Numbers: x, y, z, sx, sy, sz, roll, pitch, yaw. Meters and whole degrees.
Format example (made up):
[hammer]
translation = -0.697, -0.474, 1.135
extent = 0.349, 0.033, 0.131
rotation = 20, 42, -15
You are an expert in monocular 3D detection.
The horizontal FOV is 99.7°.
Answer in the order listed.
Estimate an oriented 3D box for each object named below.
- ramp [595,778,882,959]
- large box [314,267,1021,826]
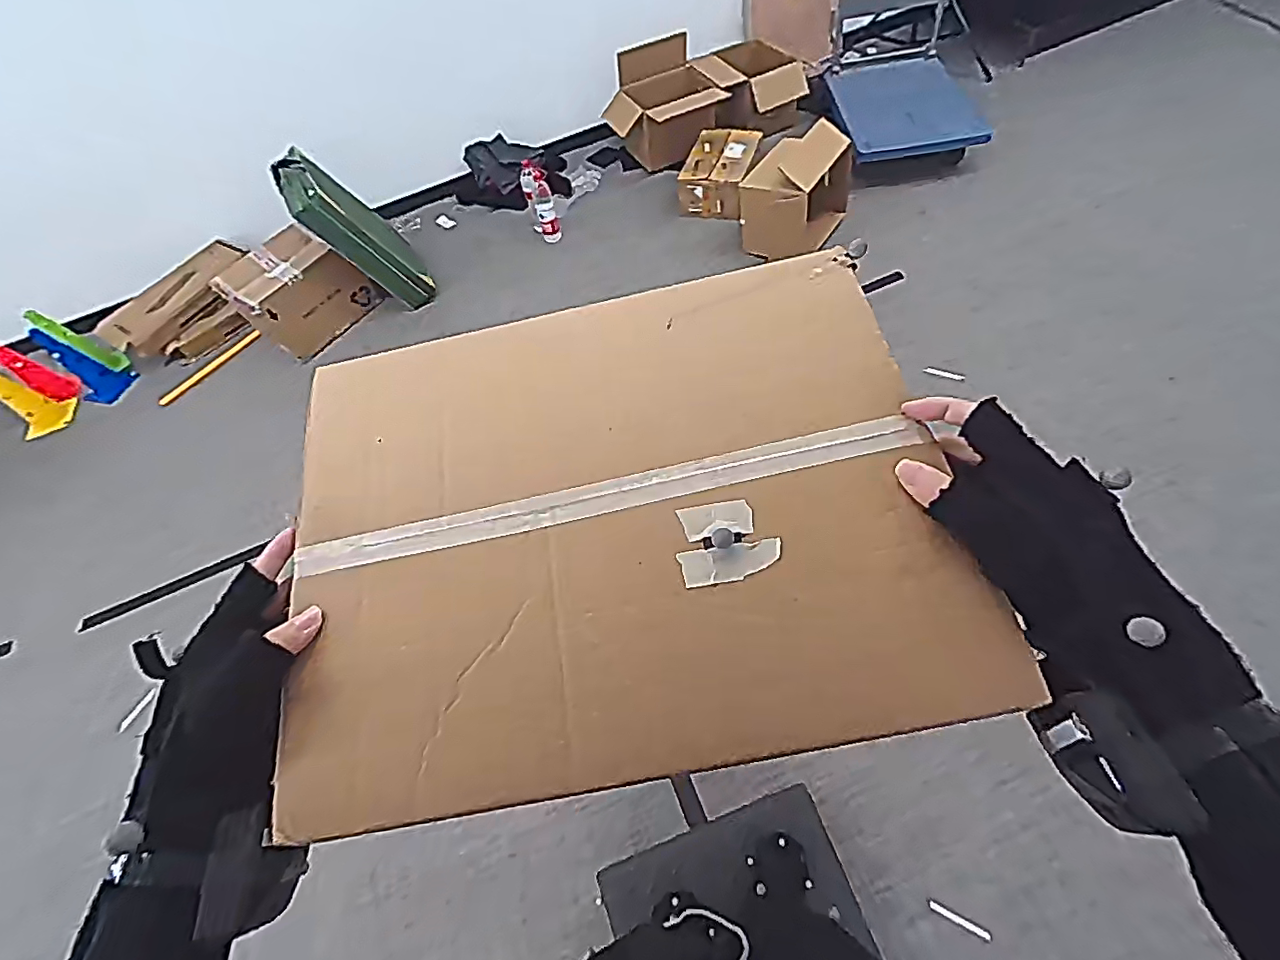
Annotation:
[ramp]
translation = 0.306, 1.158, 0.983
extent = 0.509, 0.206, 0.991
rotation = -22, 57, -6
[large box]
translation = 0.002, 0.075, 0.489
extent = 0.408, 0.320, 0.320
rotation = -12, 66, 2
